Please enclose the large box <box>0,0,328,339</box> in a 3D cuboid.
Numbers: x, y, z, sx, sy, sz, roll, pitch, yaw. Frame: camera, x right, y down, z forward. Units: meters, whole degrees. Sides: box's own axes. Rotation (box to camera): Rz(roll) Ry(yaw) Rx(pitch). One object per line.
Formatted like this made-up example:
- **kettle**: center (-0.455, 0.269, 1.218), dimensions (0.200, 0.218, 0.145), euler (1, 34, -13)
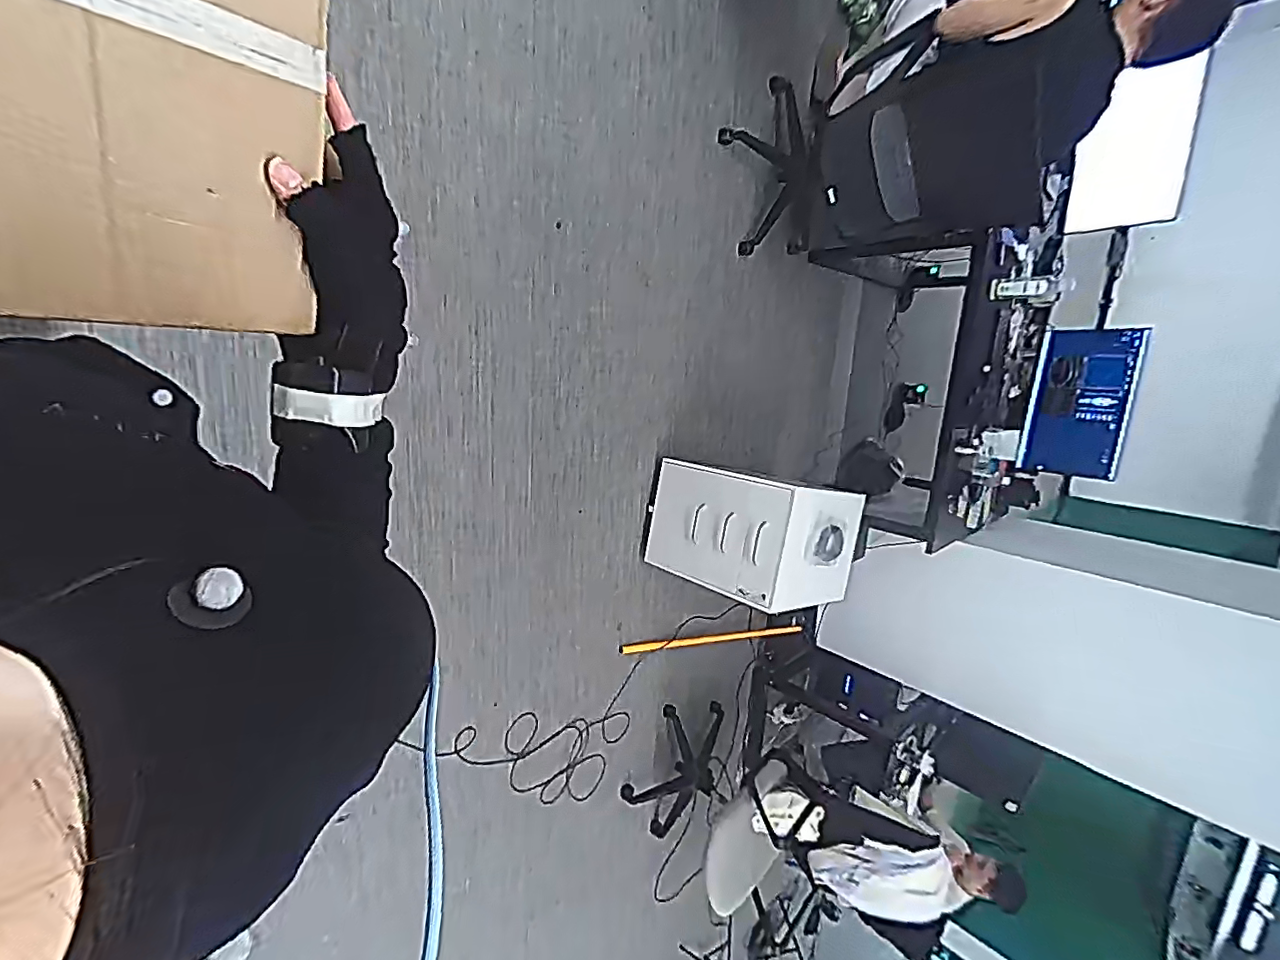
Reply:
- **large box**: center (-0.428, -0.278, 0.265), dimensions (0.408, 0.320, 0.320), euler (-10, 127, -47)
